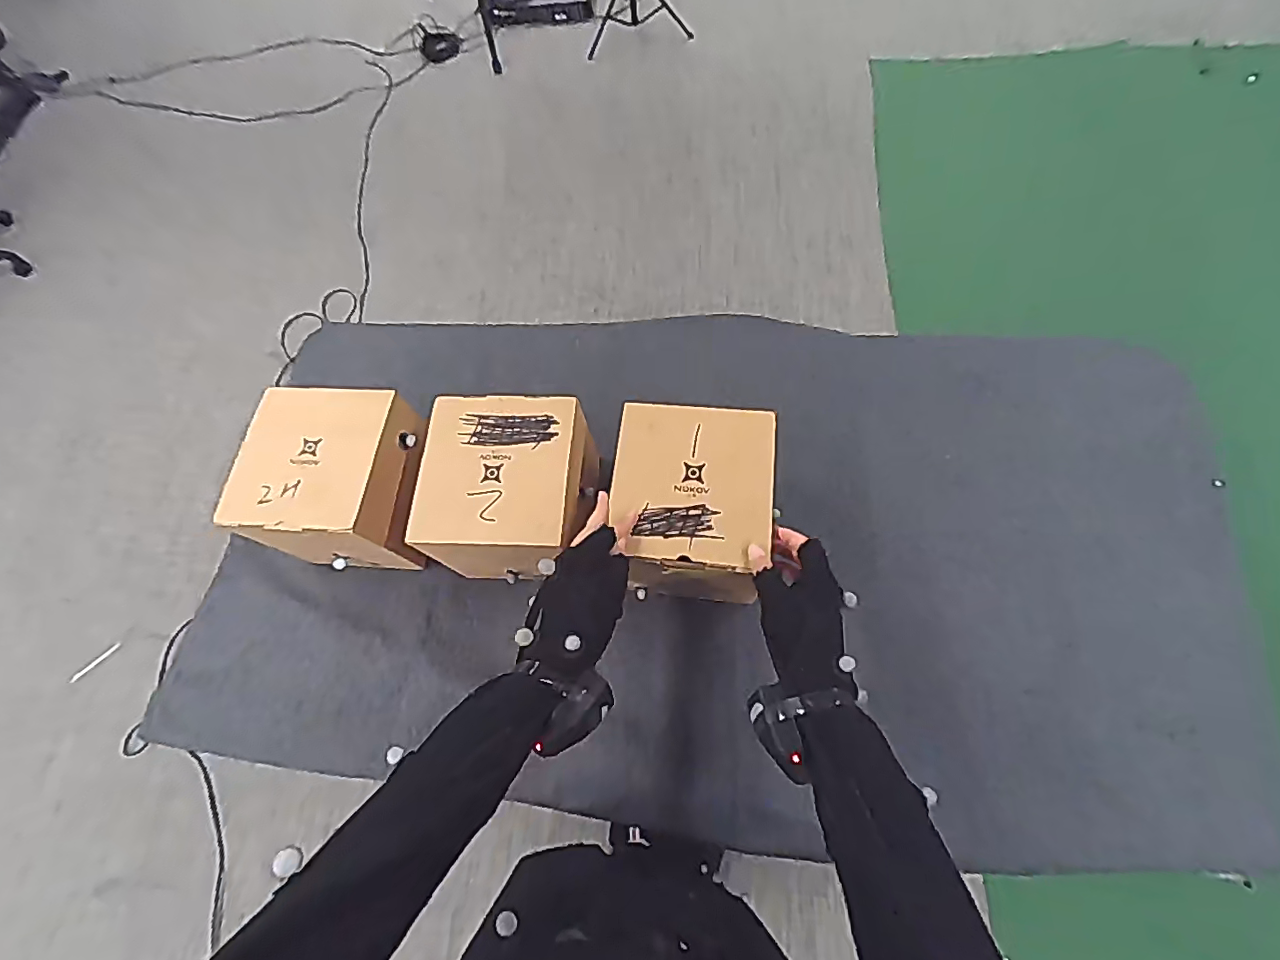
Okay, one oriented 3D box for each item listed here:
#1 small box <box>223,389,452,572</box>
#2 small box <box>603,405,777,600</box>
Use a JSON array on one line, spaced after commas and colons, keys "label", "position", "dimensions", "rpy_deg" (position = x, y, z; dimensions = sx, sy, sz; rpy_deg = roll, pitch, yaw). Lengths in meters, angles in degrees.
[{"label": "small box", "position": [-0.358, 0.005, 0.682], "dimensions": [0.168, 0.176, 0.179], "rpy_deg": [3, 67, 7]}, {"label": "small box", "position": [0.063, 0.034, 0.628], "dimensions": [0.168, 0.176, 0.179], "rpy_deg": [5, 67, 8]}]
